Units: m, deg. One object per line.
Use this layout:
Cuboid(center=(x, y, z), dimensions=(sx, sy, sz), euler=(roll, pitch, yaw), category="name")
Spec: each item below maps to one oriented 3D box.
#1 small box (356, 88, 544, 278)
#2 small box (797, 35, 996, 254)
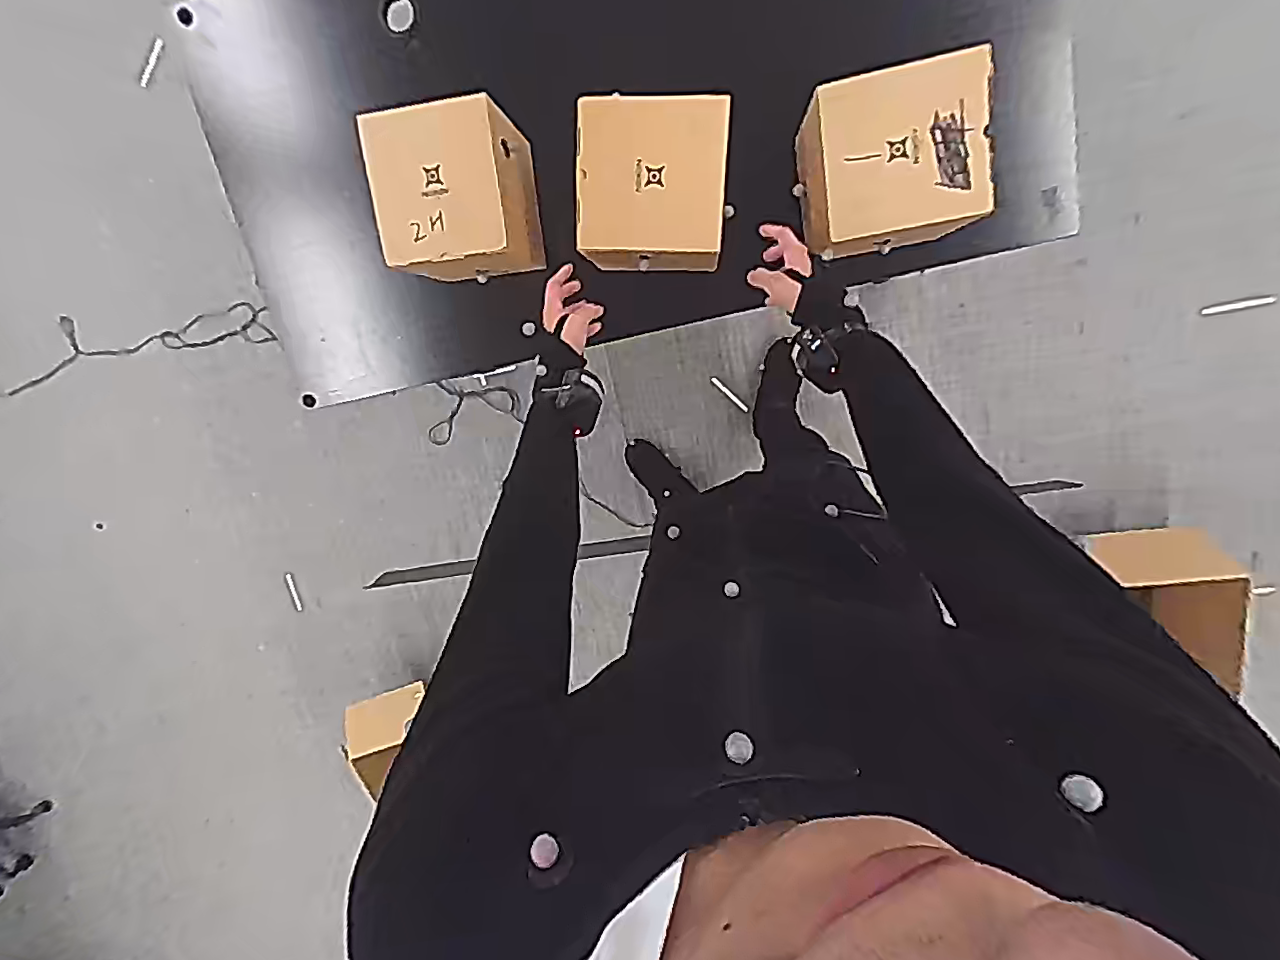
Cuboid(center=(-0.240, -0.381, 0.727), dimensions=(0.168, 0.176, 0.179), euler=(-5, 105, 9), category="small box")
Cuboid(center=(0.299, -0.386, 0.658), dimensions=(0.179, 0.176, 0.168), euler=(-8, 103, 10), category="small box")
